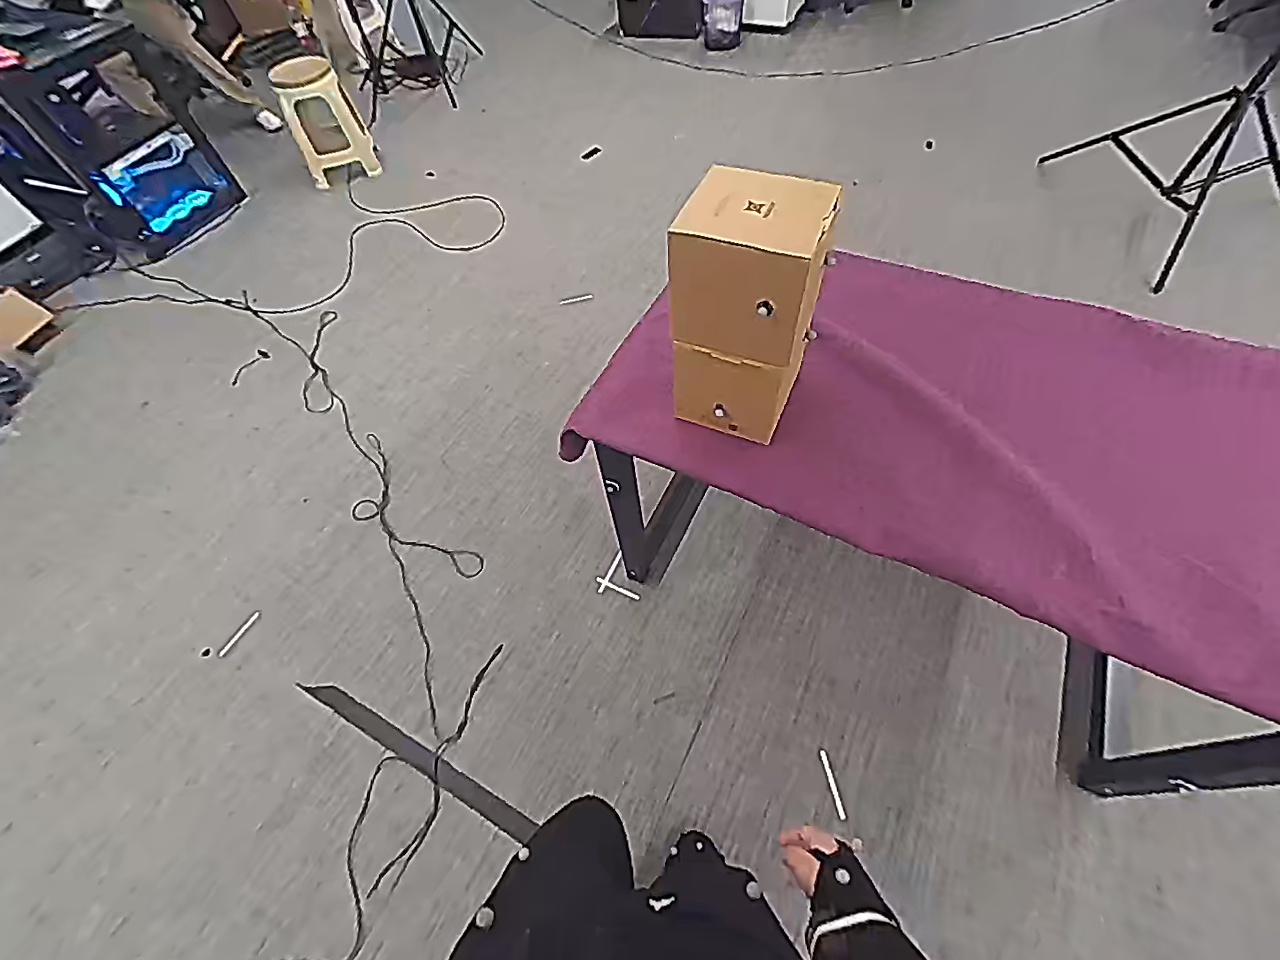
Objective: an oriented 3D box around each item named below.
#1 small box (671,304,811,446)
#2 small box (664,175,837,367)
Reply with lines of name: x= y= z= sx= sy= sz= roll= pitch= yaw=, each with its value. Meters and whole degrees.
small box: x=0.156 y=-0.187 z=0.867 sx=0.168 sy=0.176 sz=0.179 roll=19 pitch=60 yaw=17
small box: x=0.144 y=-0.277 z=0.733 sx=0.179 sy=0.176 sz=0.168 roll=18 pitch=58 yaw=16
